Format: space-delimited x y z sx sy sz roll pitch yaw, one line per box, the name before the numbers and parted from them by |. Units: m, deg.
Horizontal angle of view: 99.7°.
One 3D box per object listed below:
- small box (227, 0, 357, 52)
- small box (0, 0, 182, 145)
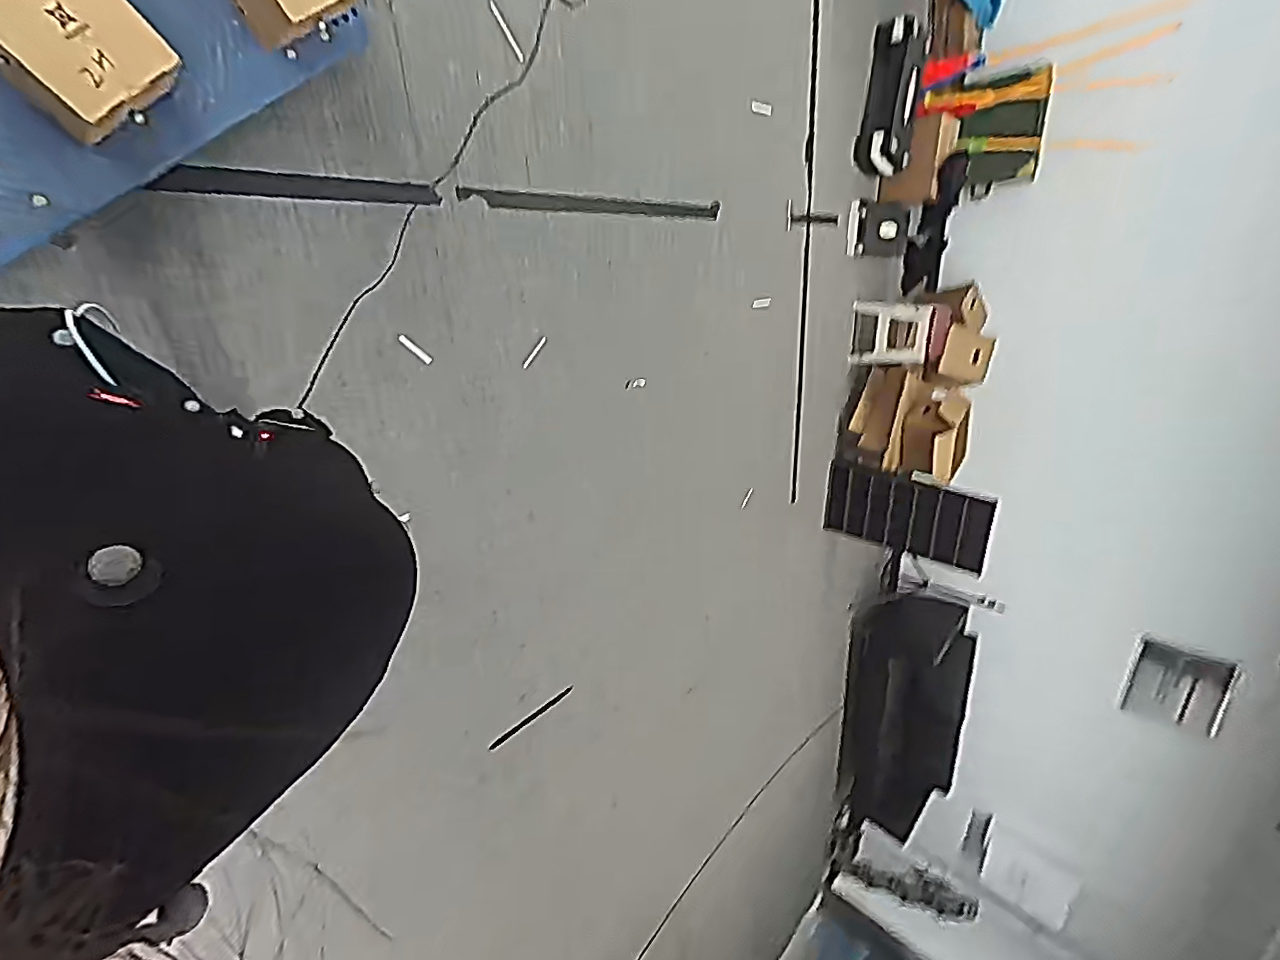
small box | -0.611 -0.879 0.921 0.179 0.176 0.168 -52 134 -21
small box | -0.822 -0.623 0.776 0.168 0.176 0.179 -56 136 -18
